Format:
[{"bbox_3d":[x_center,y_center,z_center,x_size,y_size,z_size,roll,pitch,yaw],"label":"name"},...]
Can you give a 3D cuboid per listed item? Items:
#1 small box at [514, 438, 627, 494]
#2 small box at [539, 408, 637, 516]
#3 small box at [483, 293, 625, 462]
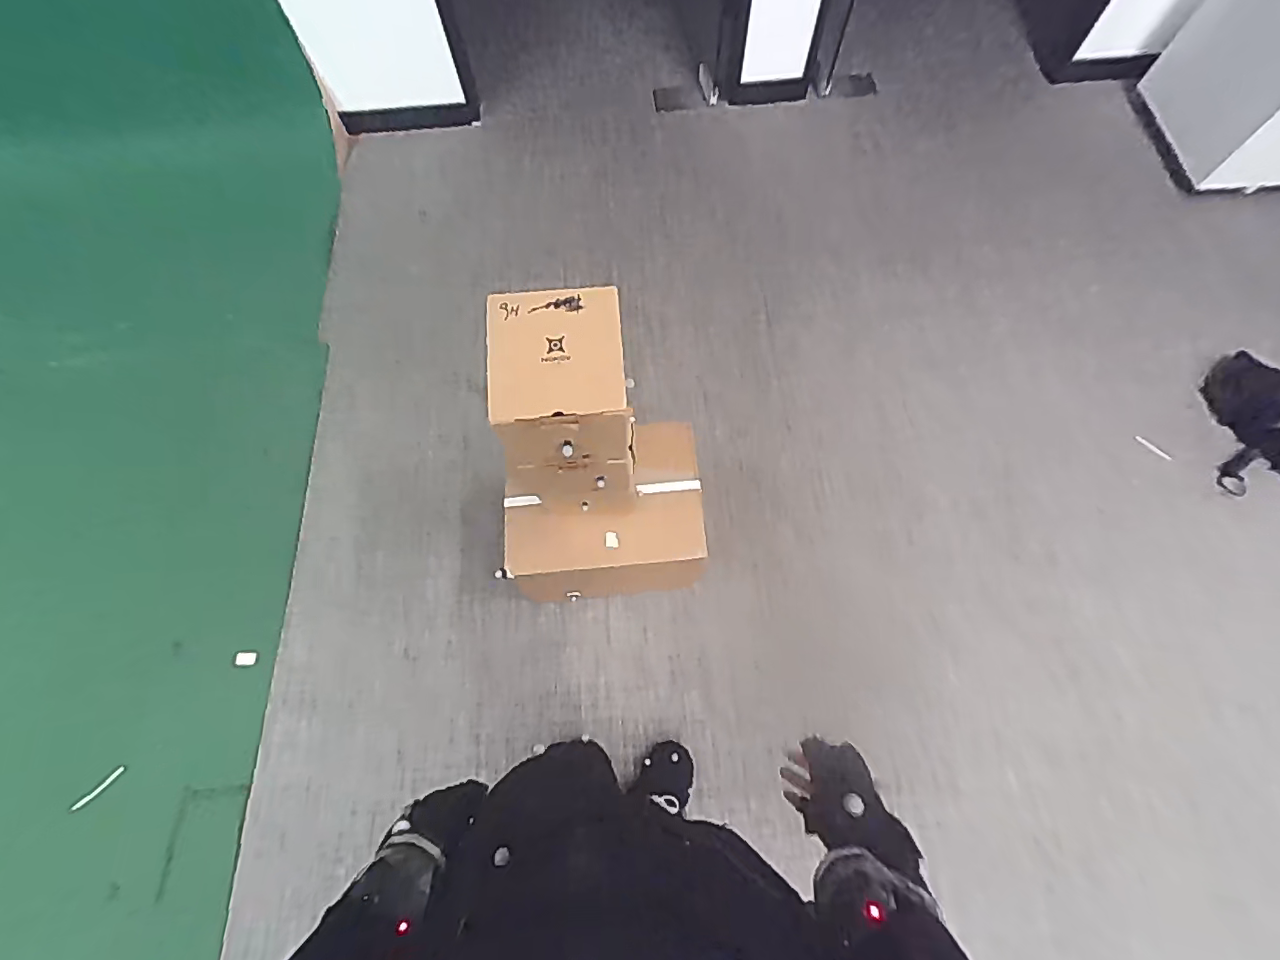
[{"bbox_3d":[-0.110,-0.079,0.896,0.168,0.176,0.179,-4,73,-1],"label":"small box"},{"bbox_3d":[-0.099,-0.029,1.050,0.179,0.176,0.168,-5,75,-1],"label":"small box"},{"bbox_3d":[-0.110,-0.128,0.740,0.168,0.176,0.179,-5,75,-1],"label":"small box"}]
